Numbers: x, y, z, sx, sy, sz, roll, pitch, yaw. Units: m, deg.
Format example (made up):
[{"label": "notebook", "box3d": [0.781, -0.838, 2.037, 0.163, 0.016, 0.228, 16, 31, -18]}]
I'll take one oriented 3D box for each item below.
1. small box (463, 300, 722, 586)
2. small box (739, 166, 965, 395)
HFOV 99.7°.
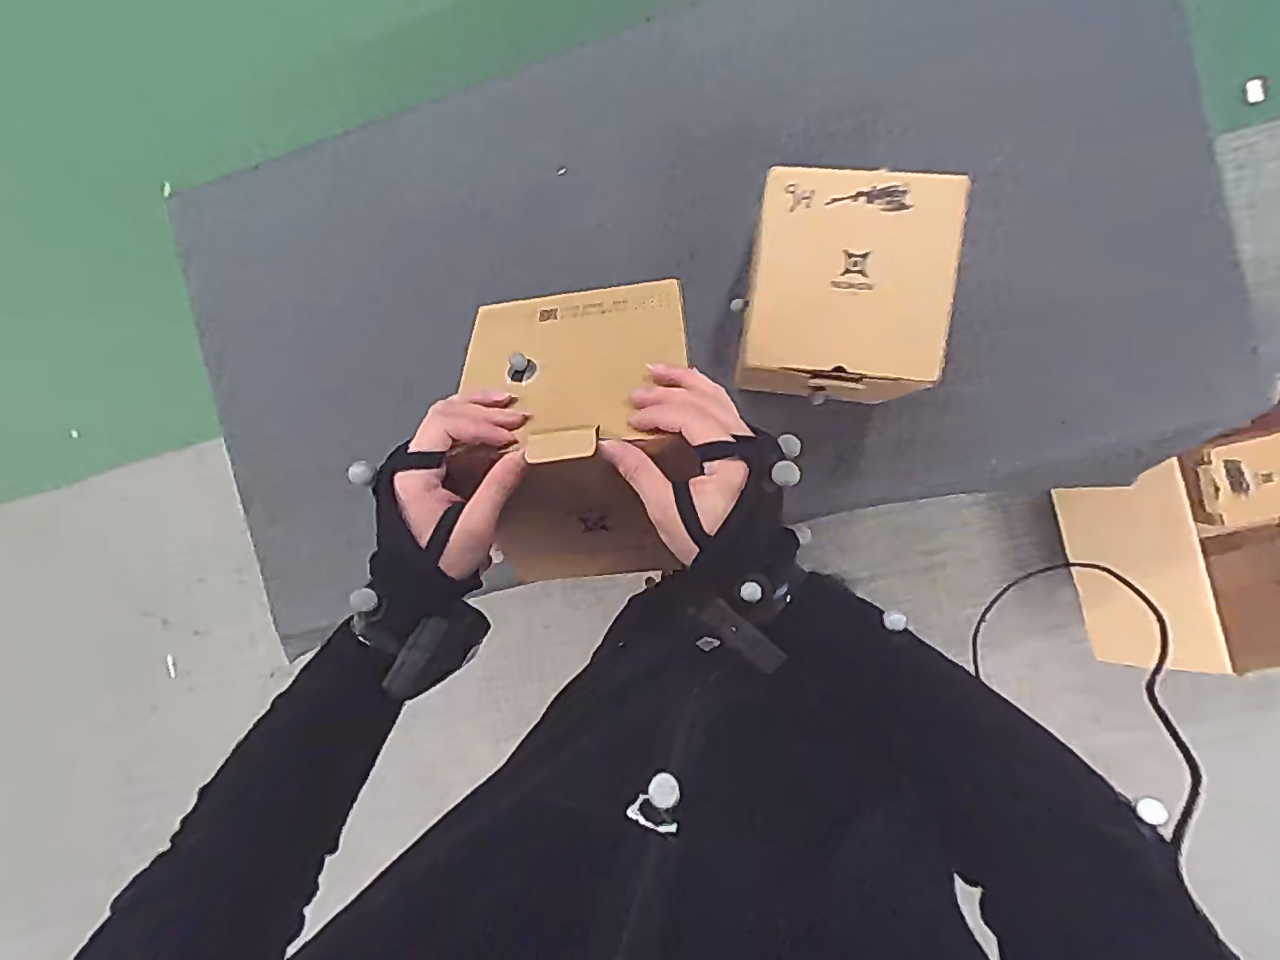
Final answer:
[{"label": "small box", "box3d": [-0.024, -0.030, 0.448, 0.168, 0.179, 0.176, -5, 54, 7]}, {"label": "small box", "box3d": [0.195, -0.186, 0.551, 0.168, 0.176, 0.179, 8, 95, 8]}]
